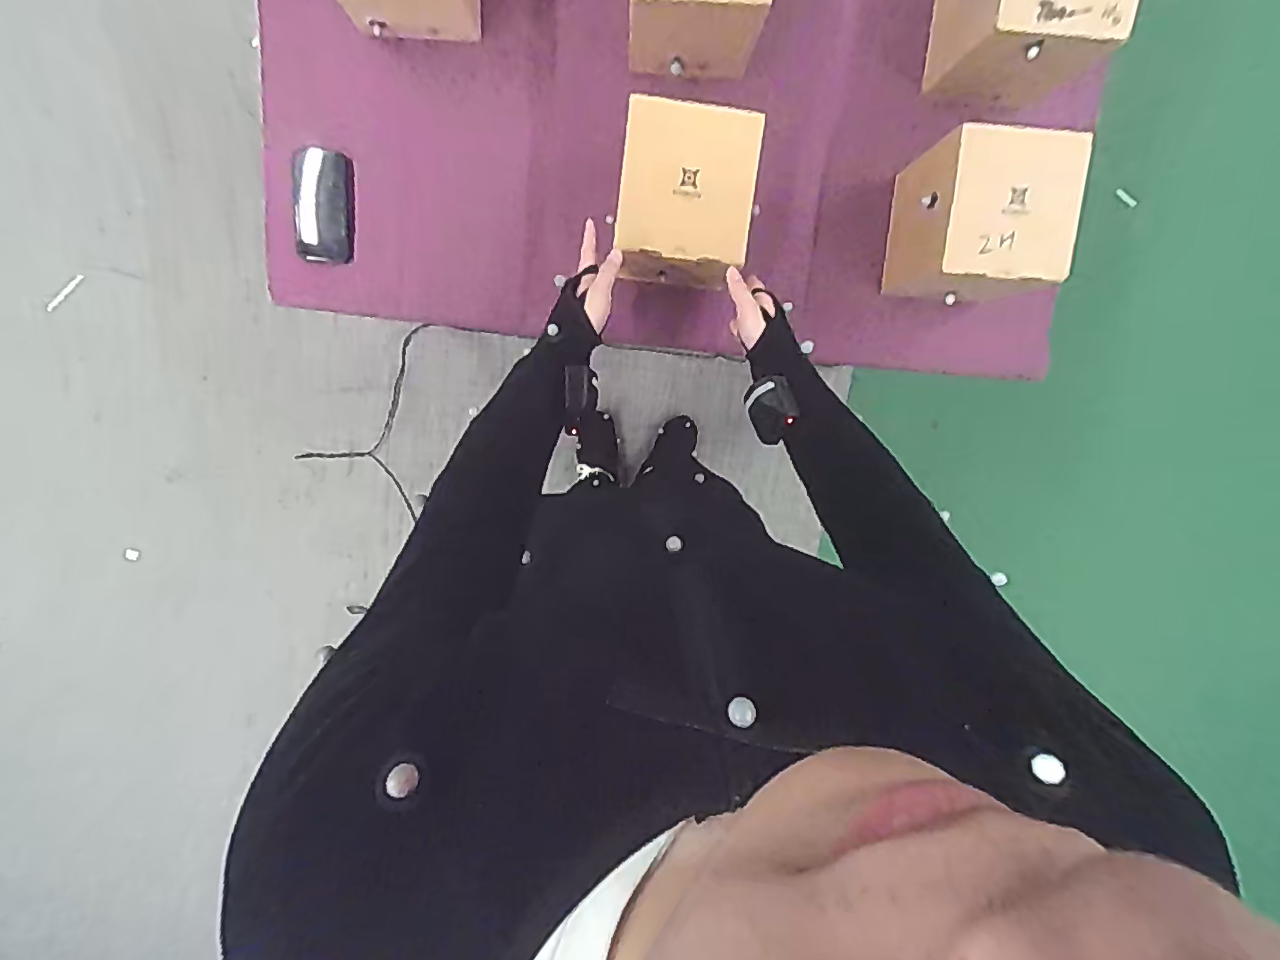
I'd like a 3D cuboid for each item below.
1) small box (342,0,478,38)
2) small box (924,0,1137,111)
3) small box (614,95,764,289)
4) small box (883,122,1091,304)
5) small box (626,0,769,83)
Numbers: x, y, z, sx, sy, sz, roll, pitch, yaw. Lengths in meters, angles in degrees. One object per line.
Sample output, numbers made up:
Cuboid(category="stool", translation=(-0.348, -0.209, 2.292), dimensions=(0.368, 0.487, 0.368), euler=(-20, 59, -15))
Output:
Cuboid(category="small box", translation=(-0.300, -0.684, 0.657), dimensions=(0.168, 0.176, 0.179), euler=(1, 100, -3))
Cuboid(category="small box", translation=(0.497, -0.621, 0.699), dimensions=(0.168, 0.176, 0.179), euler=(3, 100, -2))
Cuboid(category="small box", translation=(0.055, -0.372, 0.730), dimensions=(0.168, 0.176, 0.179), euler=(6, 100, -3))
Cuboid(category="small box", translation=(0.459, -0.353, 0.745), dimensions=(0.168, 0.176, 0.179), euler=(4, 100, -2))
Cuboid(category="small box", translation=(0.068, -0.646, 0.680), dimensions=(0.168, 0.176, 0.179), euler=(2, 101, -2))
